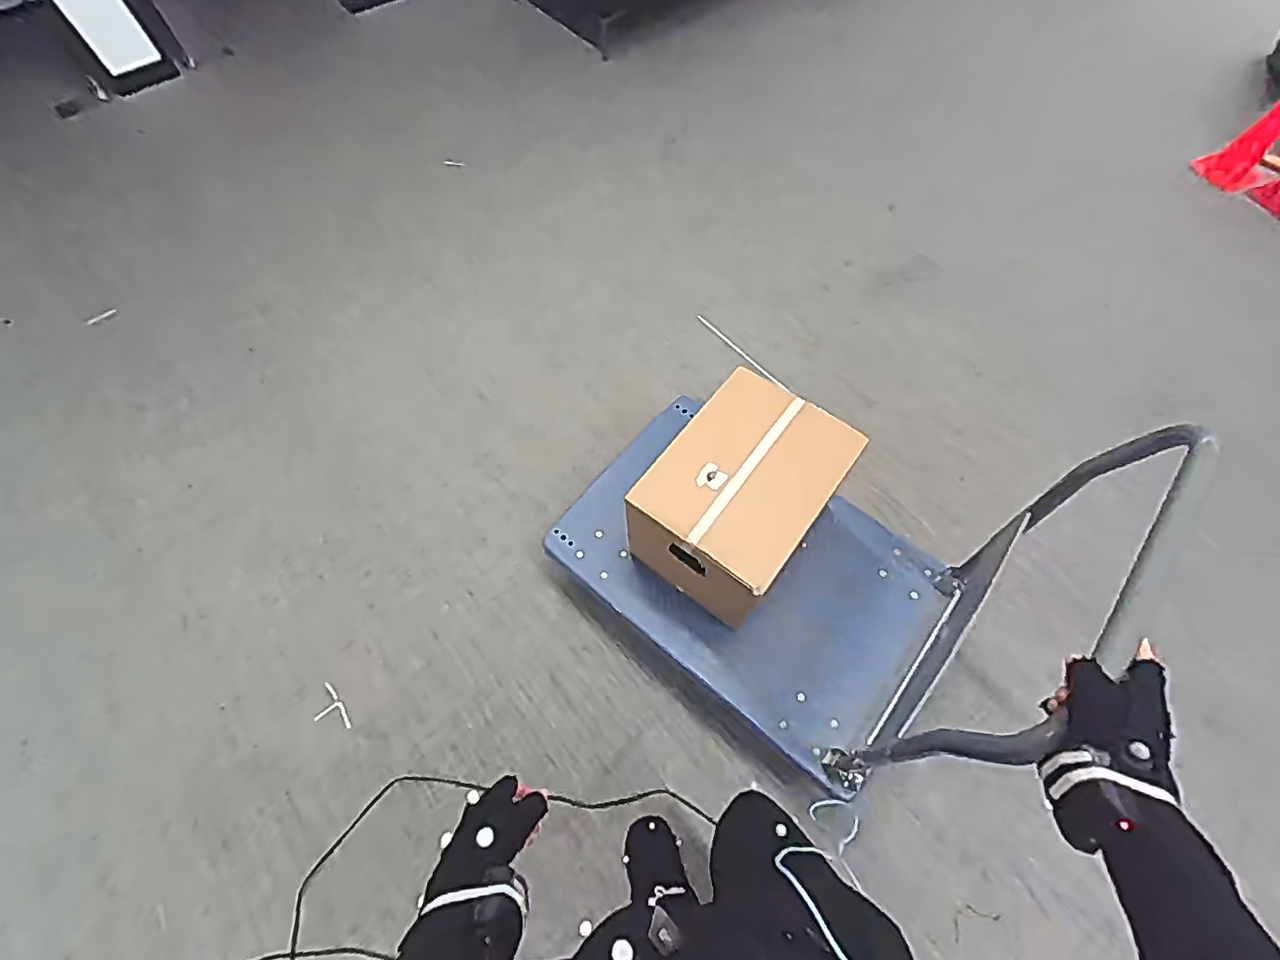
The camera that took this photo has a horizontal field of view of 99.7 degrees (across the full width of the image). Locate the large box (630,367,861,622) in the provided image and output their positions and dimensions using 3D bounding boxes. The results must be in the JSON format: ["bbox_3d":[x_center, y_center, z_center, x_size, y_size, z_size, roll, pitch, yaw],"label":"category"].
[{"bbox_3d":[0.218,0.040,1.202,0.320,0.320,0.408,33,69,17],"label":"large box"}]
